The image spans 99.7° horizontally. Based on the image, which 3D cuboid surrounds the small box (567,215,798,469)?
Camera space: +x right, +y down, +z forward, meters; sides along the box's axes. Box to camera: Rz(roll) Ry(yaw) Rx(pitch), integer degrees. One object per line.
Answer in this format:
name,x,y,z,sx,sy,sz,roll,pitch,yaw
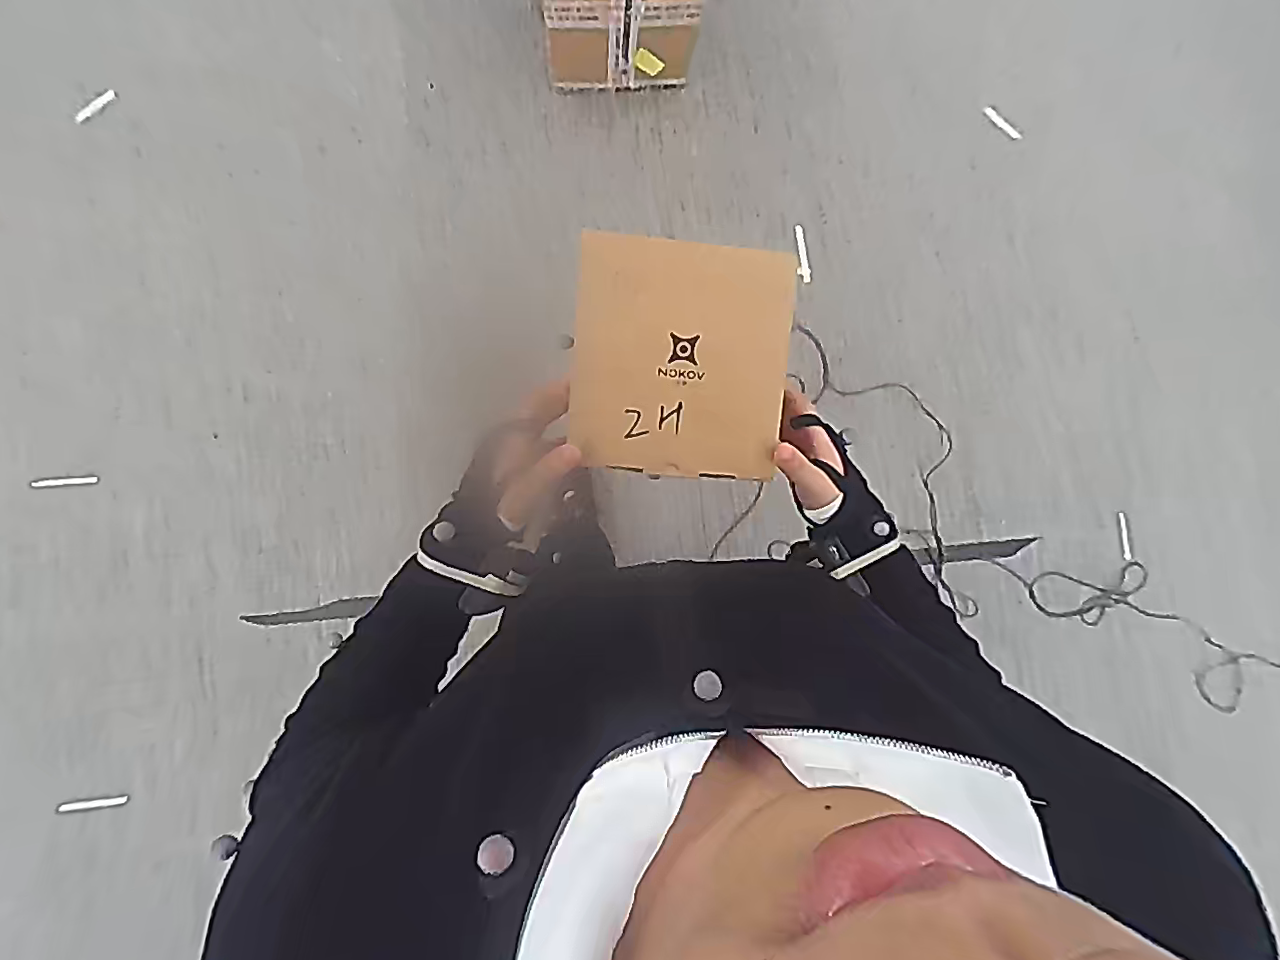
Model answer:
small box,0.026,-0.109,0.487,0.168,0.176,0.179,4,96,-5
